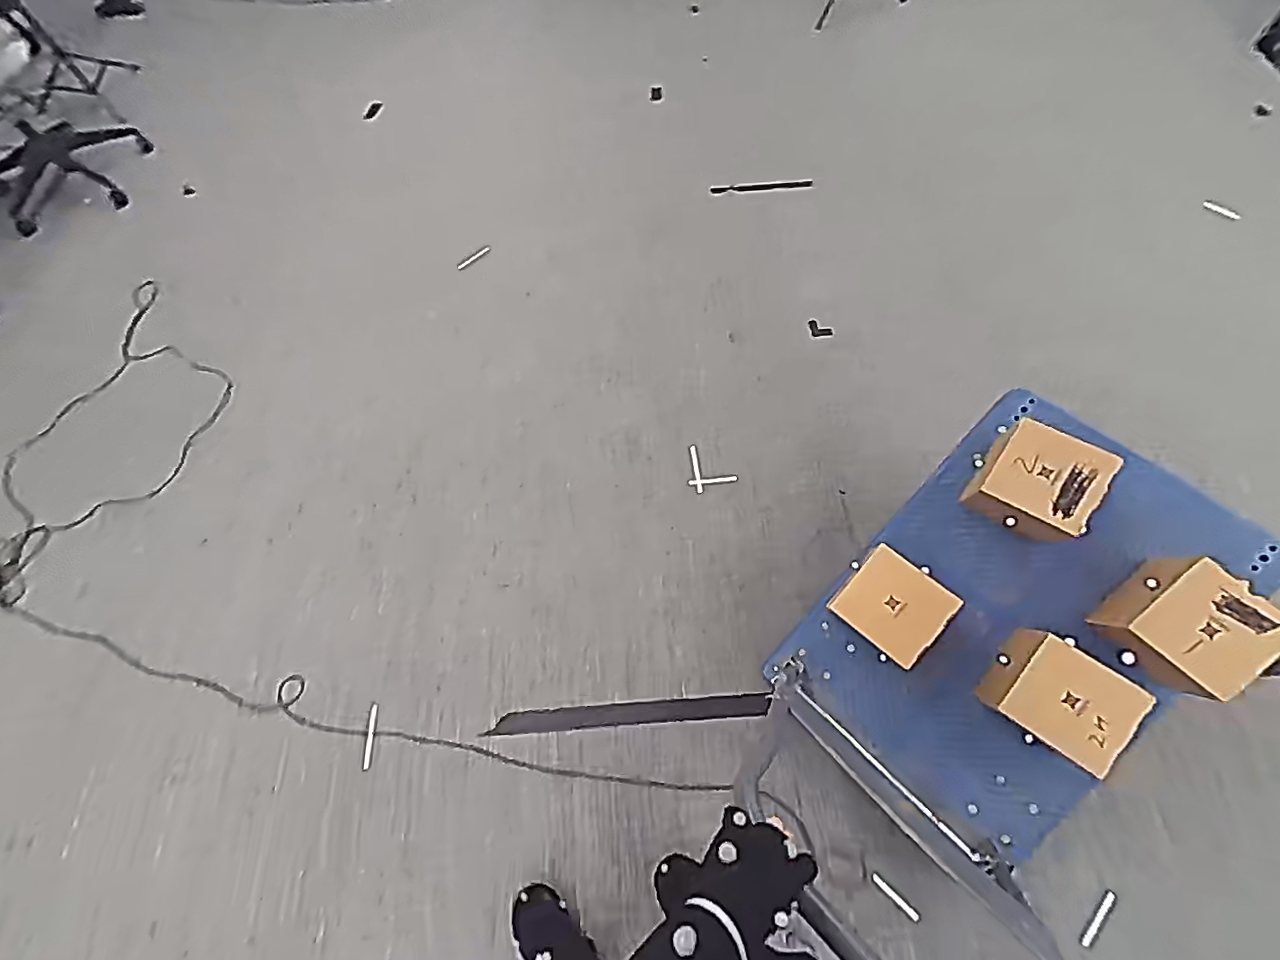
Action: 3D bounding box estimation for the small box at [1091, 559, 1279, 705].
[{"bbox_3d":[0.960,0.258,0.951,0.179,0.176,0.168,-46,69,5],"label":"small box"}]

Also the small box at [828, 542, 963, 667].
[{"bbox_3d":[0.503,0.250,1.097,0.179,0.176,0.168,40,92,19],"label":"small box"}]

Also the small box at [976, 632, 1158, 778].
[{"bbox_3d":[0.757,0.395,0.986,0.179,0.176,0.168,35,91,21],"label":"small box"}]
